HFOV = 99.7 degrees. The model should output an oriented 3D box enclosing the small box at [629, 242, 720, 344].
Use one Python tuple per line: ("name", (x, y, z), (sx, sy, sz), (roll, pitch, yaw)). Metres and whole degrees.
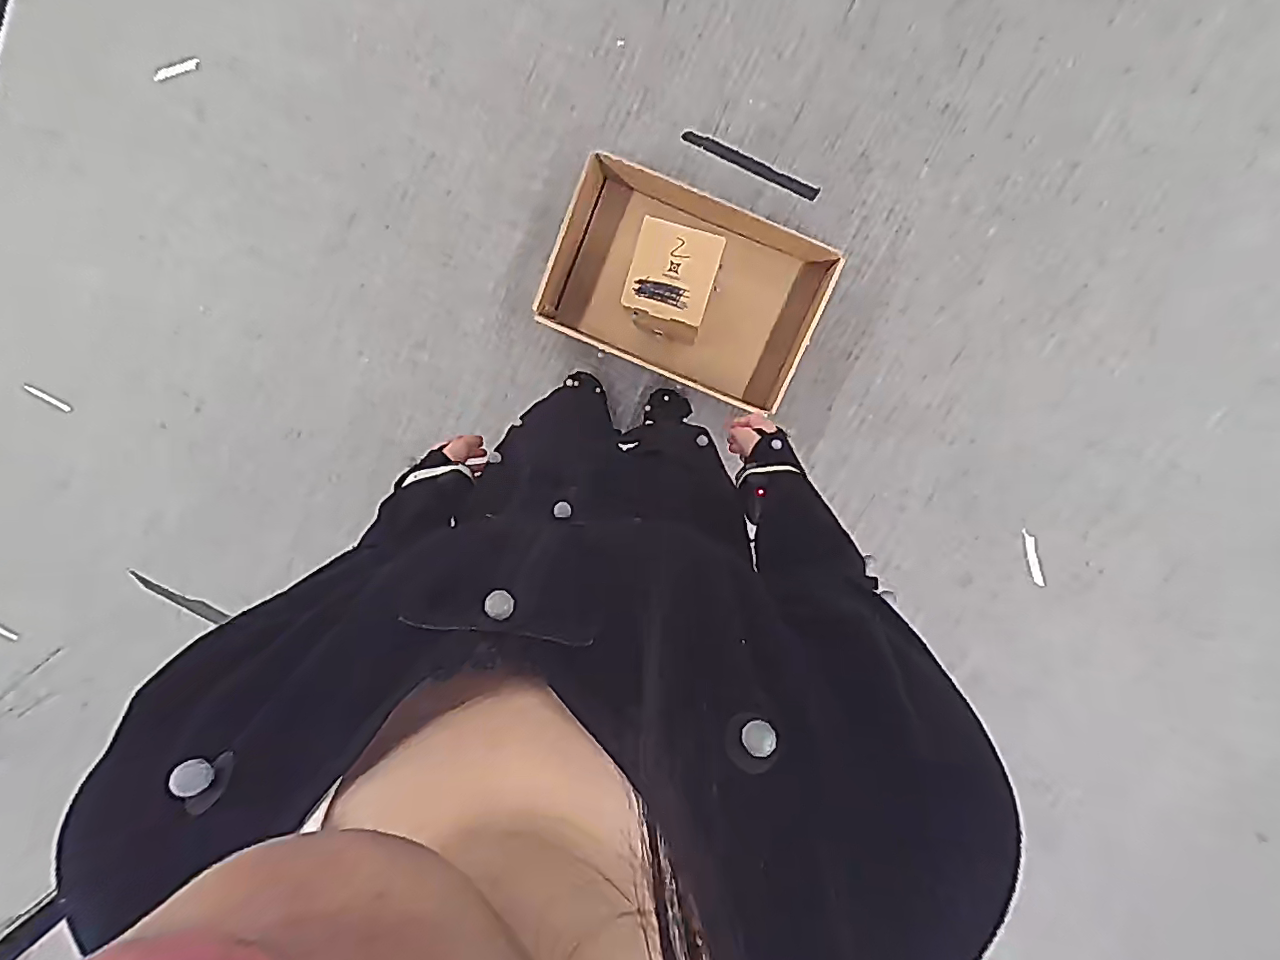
("small box", (0.081, -0.436, 1.290), (0.168, 0.176, 0.179), (18, 101, 3))
